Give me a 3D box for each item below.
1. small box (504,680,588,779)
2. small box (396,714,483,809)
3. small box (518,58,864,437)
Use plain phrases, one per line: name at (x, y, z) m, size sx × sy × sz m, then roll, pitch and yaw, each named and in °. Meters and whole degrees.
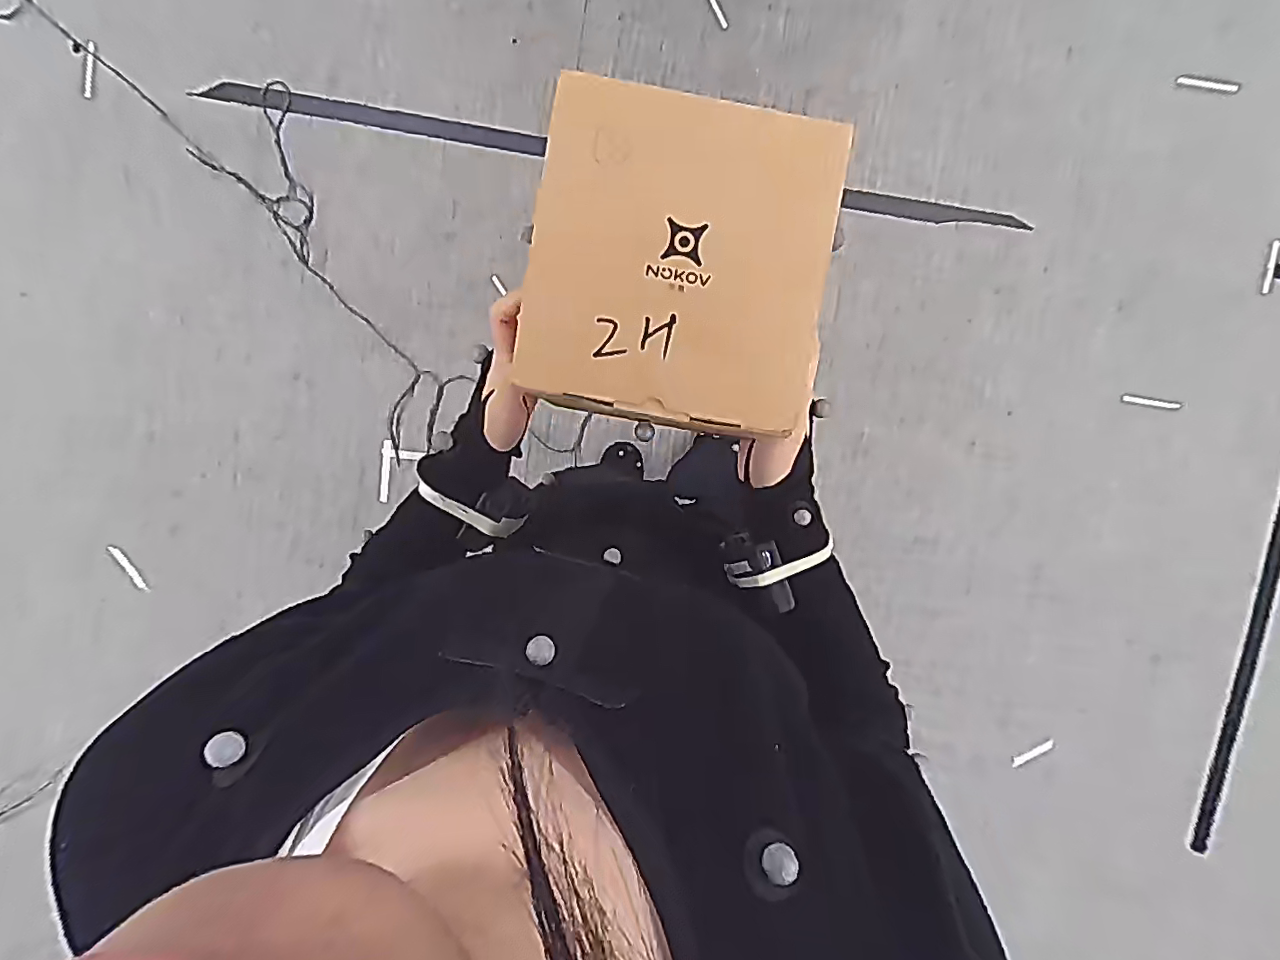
small box at (-0.244, 0.655, 1.439) m, size 0.179 × 0.176 × 0.168 m, roll 10°, pitch 95°, yaw -2°
small box at (-0.534, 0.749, 1.453) m, size 0.179 × 0.176 × 0.168 m, roll 2°, pitch 96°, yaw 0°
small box at (0.026, -0.131, 0.374) m, size 0.168 × 0.176 × 0.179 m, roll 11°, pitch 93°, yaw -1°
